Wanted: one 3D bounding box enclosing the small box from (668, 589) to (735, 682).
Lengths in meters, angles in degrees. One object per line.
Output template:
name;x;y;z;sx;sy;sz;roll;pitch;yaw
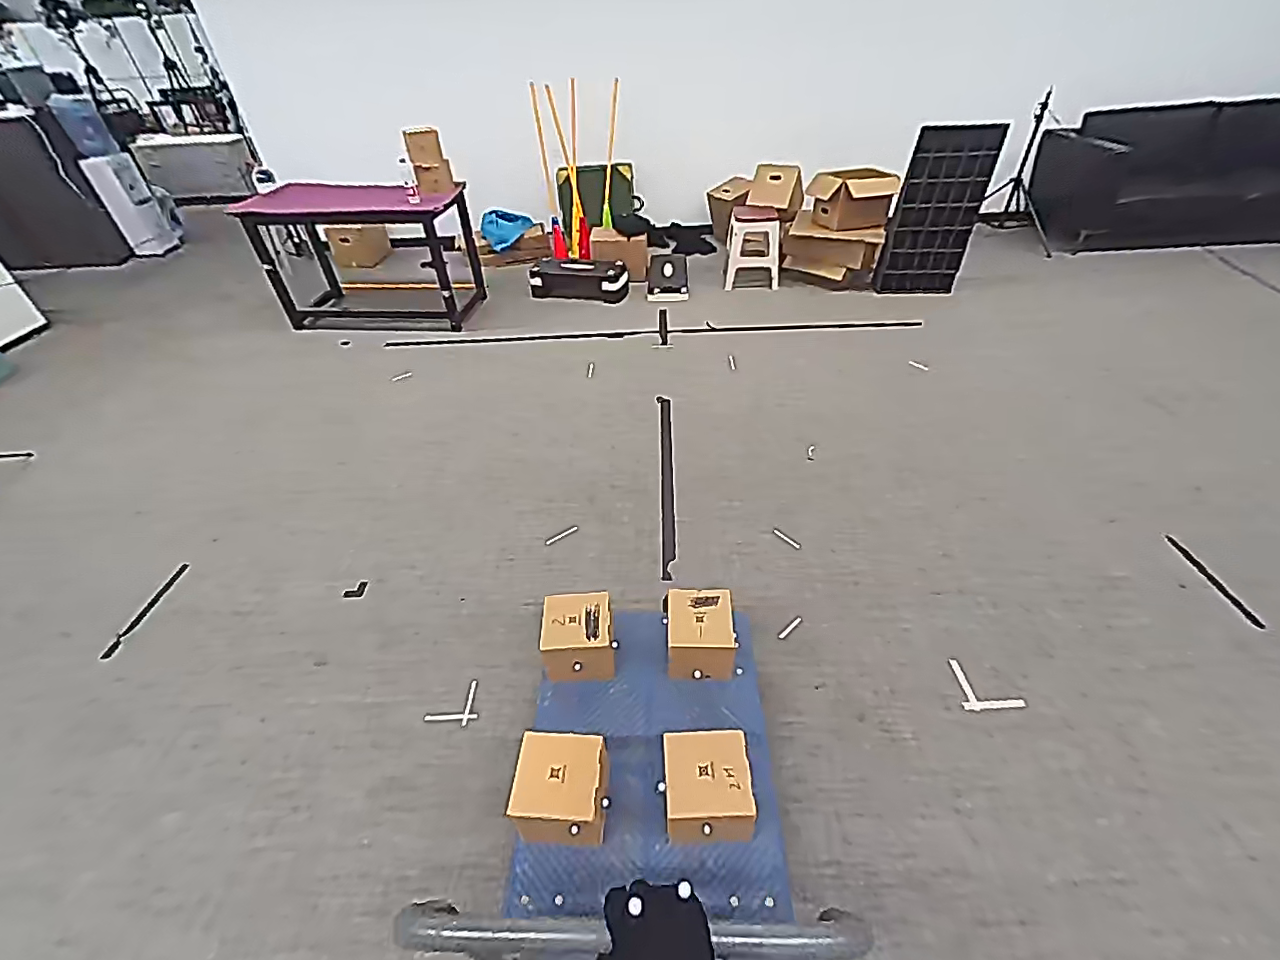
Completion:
small box;0.159;0.413;1.437;0.168;0.176;0.179;0;42;4

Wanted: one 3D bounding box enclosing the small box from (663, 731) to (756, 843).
small box;0.142;0.658;1.156;0.179;0.176;0.168;-2;41;1

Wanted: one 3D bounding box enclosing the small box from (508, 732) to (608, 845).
small box;-0.167;0.667;1.166;0.179;0.176;0.168;2;41;3
